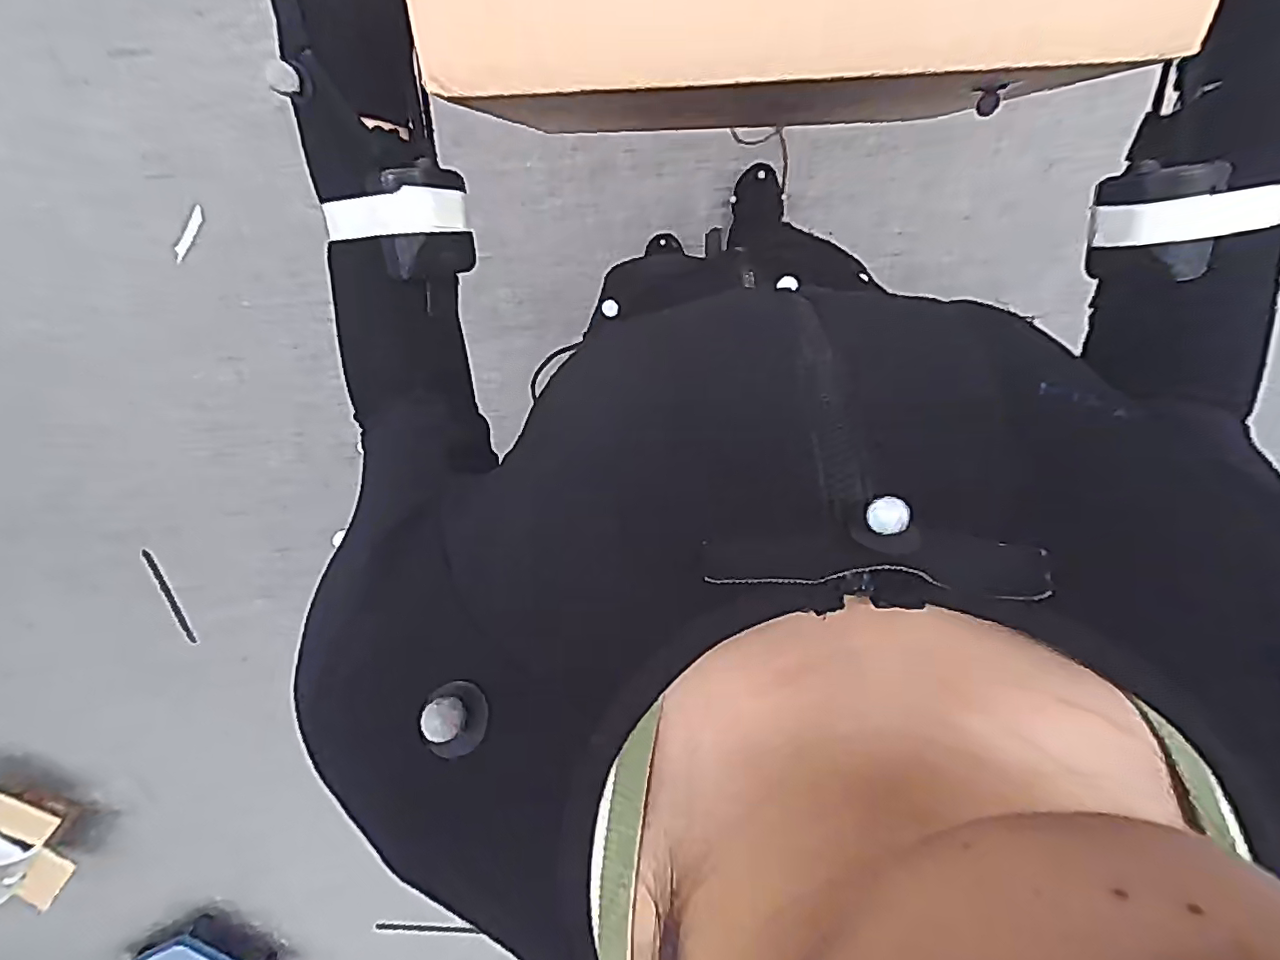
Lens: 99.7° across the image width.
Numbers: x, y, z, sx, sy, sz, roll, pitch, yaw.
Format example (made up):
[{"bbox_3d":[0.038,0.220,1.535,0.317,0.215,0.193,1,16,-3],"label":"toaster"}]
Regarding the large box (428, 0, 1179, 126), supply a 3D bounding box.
[{"bbox_3d":[0.086,-0.433,0.356,0.408,0.320,0.320,0,119,4],"label":"large box"}]
